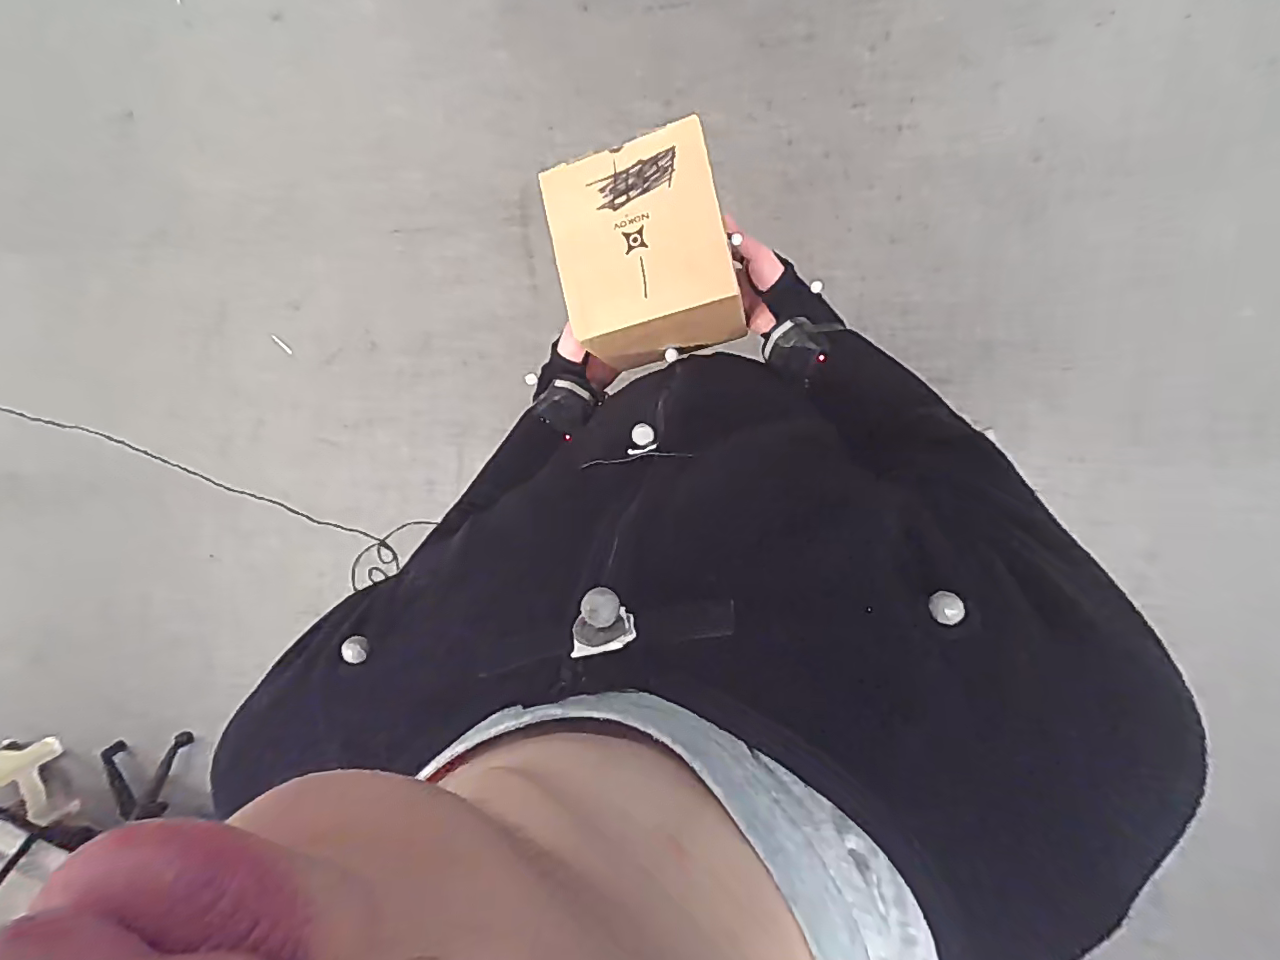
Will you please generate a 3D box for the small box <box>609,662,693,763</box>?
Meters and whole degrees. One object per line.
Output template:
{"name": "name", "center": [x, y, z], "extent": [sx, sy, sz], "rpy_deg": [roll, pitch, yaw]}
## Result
{"name": "small box", "center": [0.040, 0.671, 1.583], "extent": [0.168, 0.176, 0.179], "rpy_deg": [45, 106, 4]}
